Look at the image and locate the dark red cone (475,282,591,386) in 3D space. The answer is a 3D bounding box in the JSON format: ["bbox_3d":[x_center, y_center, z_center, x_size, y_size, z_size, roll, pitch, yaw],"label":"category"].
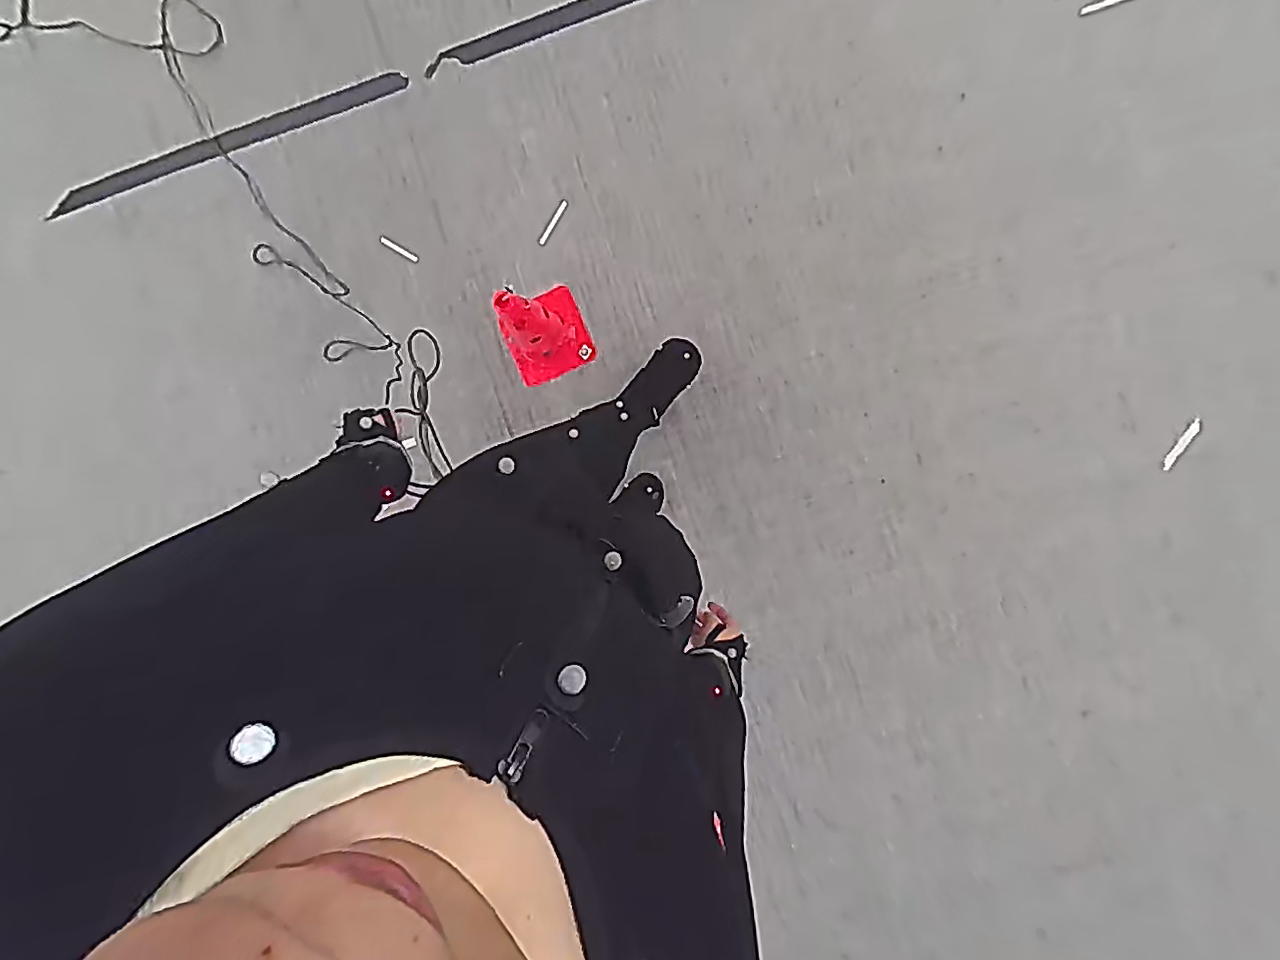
[{"bbox_3d":[-0.249,-0.337,1.132,0.202,0.394,0.201,-24,91,5],"label":"dark red cone"}]
